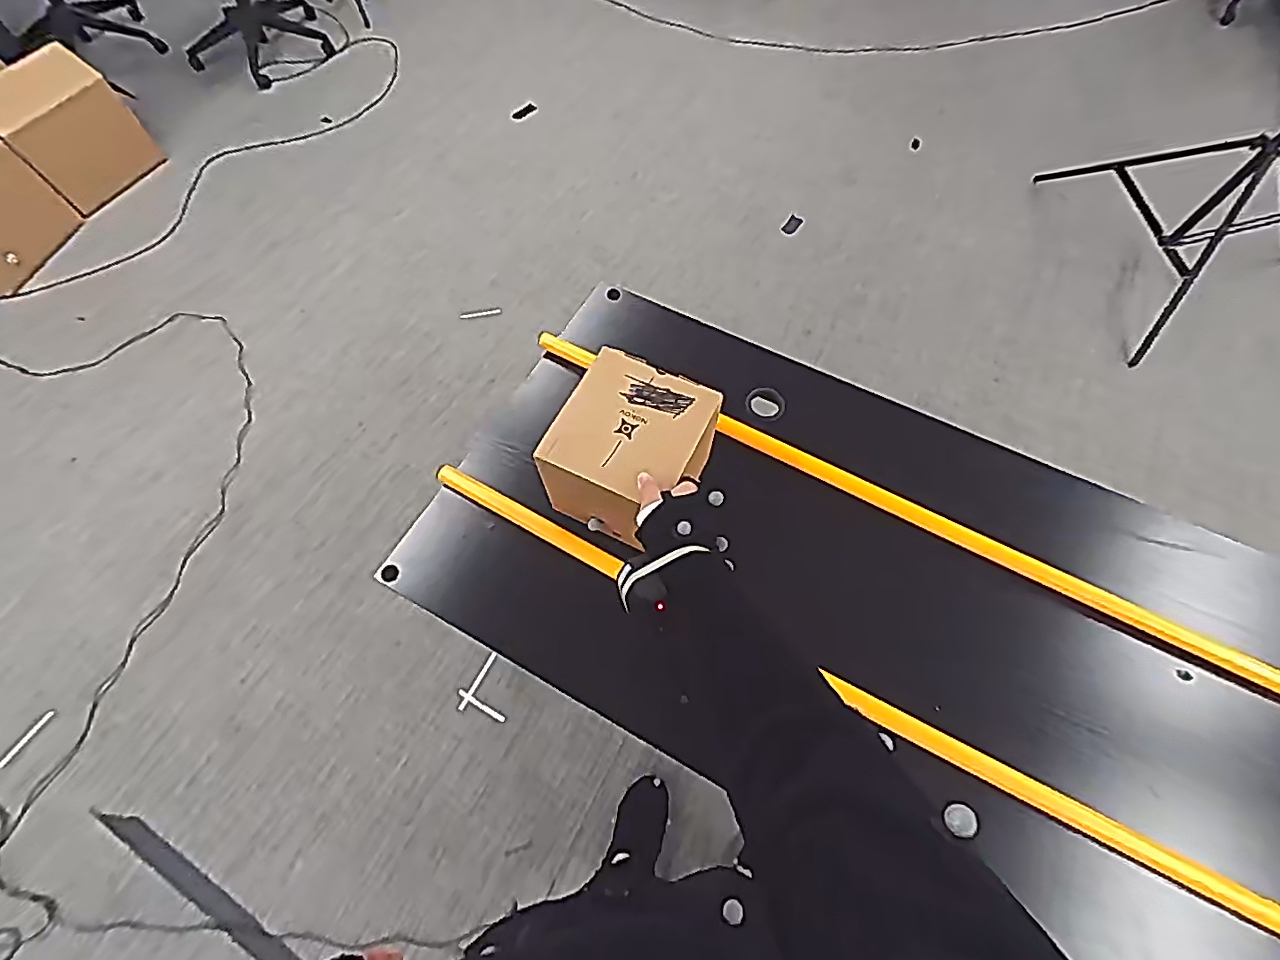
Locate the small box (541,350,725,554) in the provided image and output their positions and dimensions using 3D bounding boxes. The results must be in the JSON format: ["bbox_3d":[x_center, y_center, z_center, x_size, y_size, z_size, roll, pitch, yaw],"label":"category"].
[{"bbox_3d":[-0.007,-0.030,0.710,0.168,0.176,0.179,24,68,12],"label":"small box"}]
